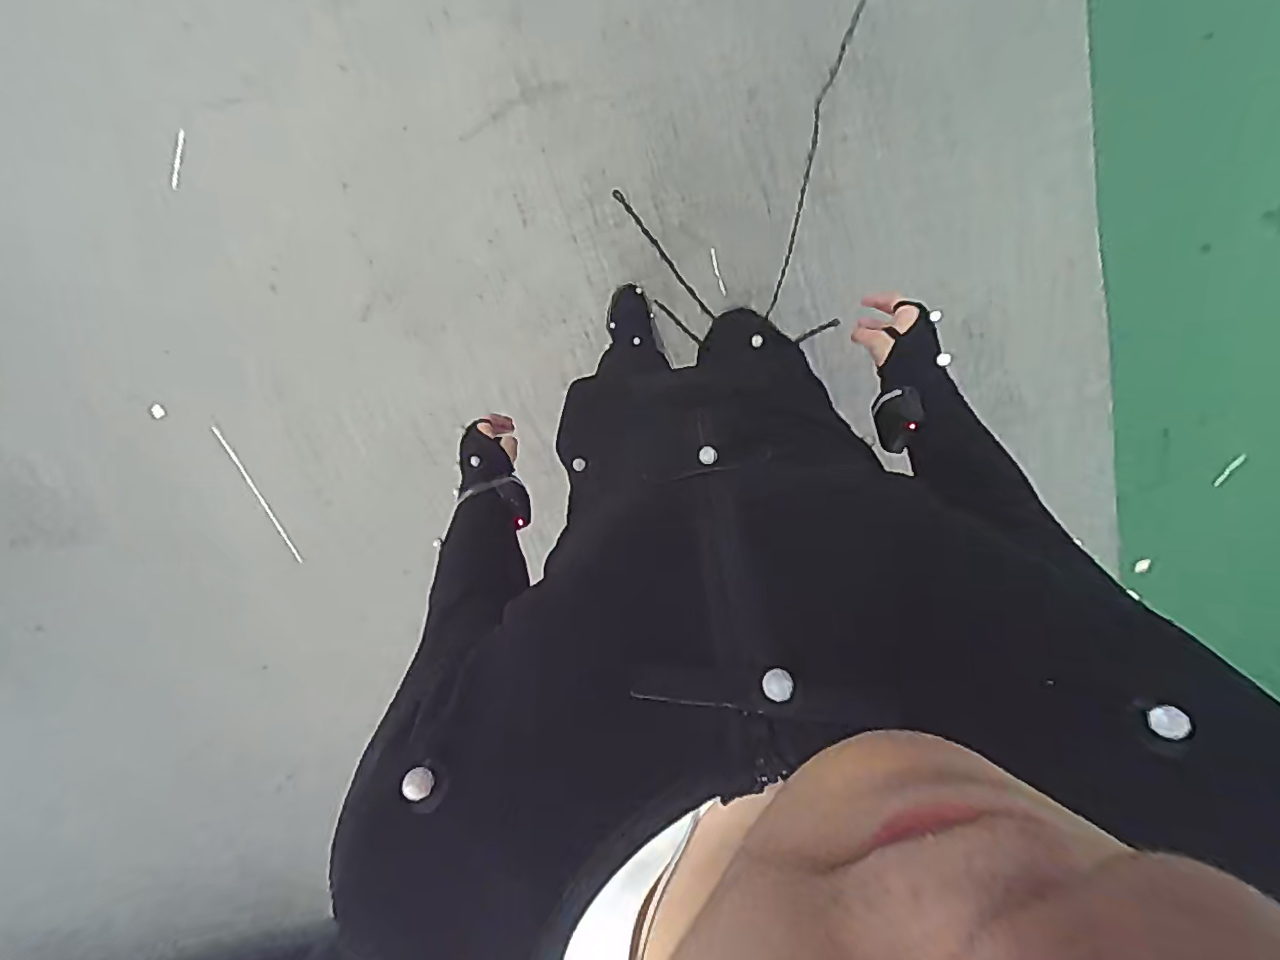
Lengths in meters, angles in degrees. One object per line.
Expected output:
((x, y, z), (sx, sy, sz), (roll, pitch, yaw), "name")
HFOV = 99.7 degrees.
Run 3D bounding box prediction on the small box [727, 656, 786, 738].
((0.403, 0.719, 1.816), (0.168, 0.176, 0.179), (-19, 108, 5), "small box")
